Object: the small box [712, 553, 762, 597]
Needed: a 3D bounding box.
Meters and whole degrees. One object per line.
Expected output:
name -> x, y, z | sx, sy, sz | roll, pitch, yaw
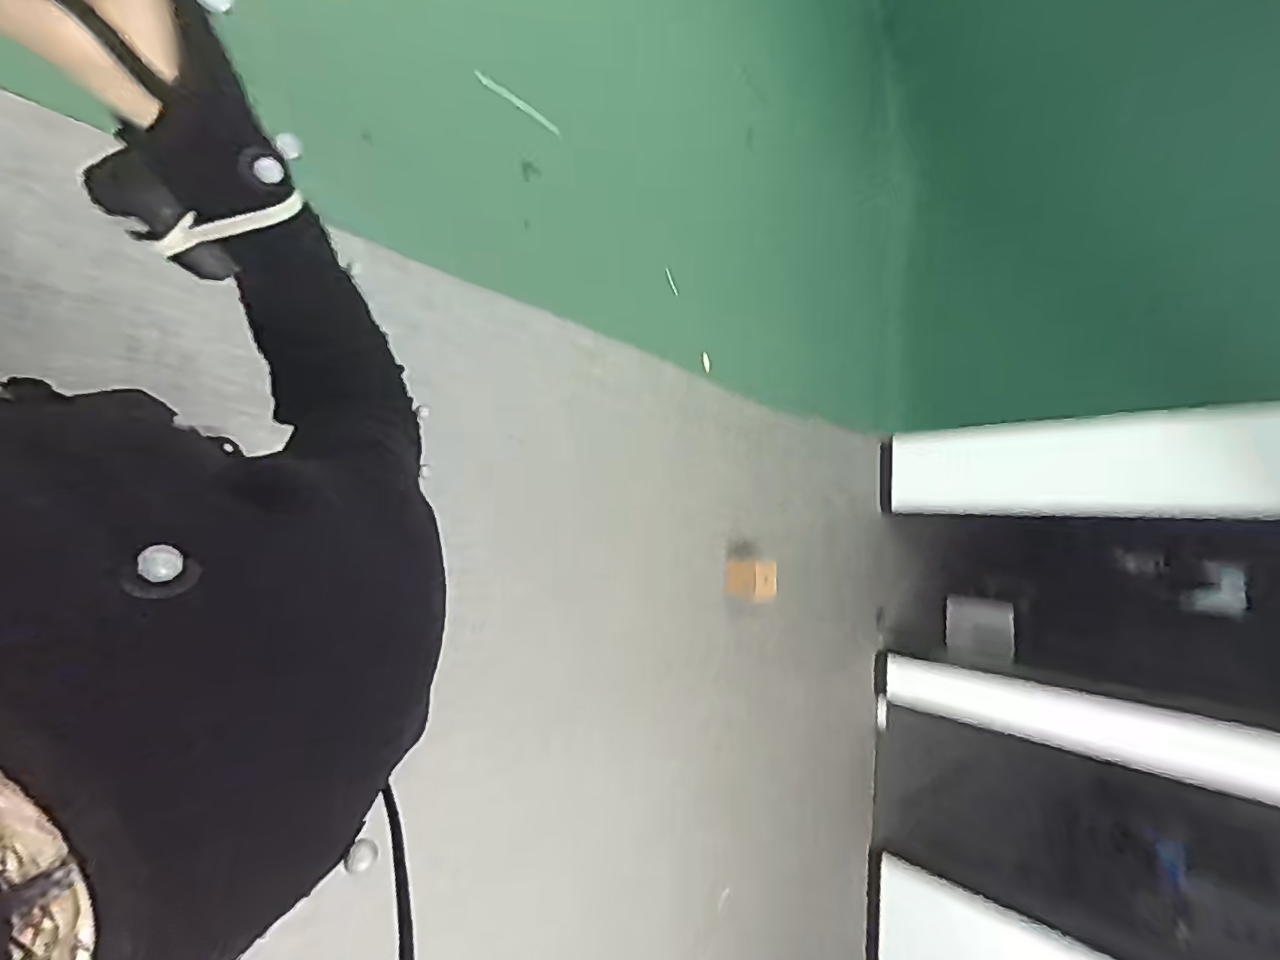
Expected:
small box -> 0.442, 0.430, 2.479 | 0.168, 0.176, 0.179 | 5, 86, -44
